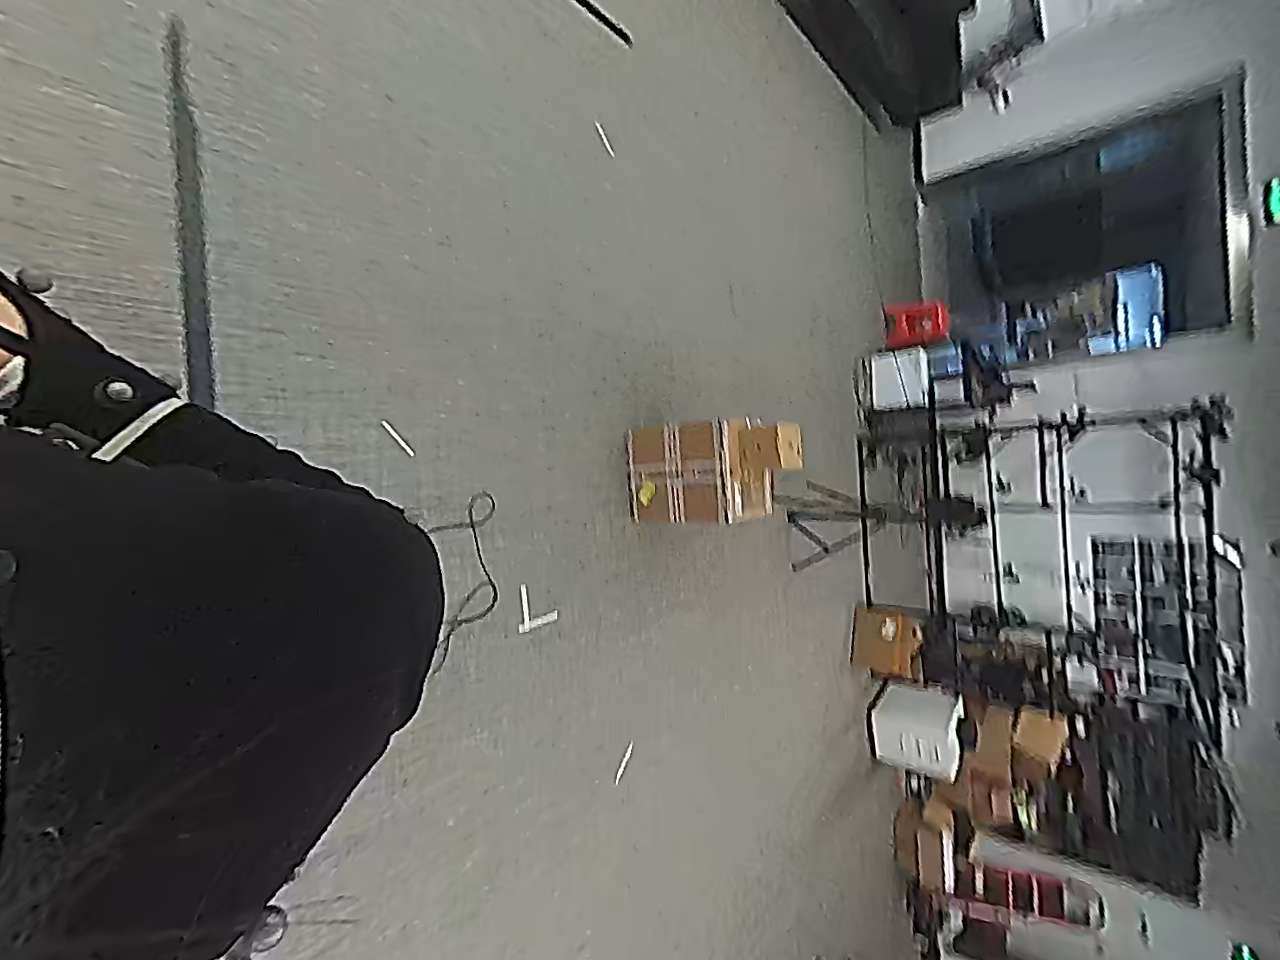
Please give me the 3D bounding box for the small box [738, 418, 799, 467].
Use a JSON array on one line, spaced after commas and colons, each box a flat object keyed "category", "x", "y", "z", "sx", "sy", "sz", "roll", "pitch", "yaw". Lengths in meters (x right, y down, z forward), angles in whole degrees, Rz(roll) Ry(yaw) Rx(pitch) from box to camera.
[{"category": "small box", "x": 0.488, "y": -0.138, "z": 2.069, "sx": 0.179, "sy": 0.176, "sz": 0.168, "roll": -2, "pitch": 88, "yaw": -47}]
